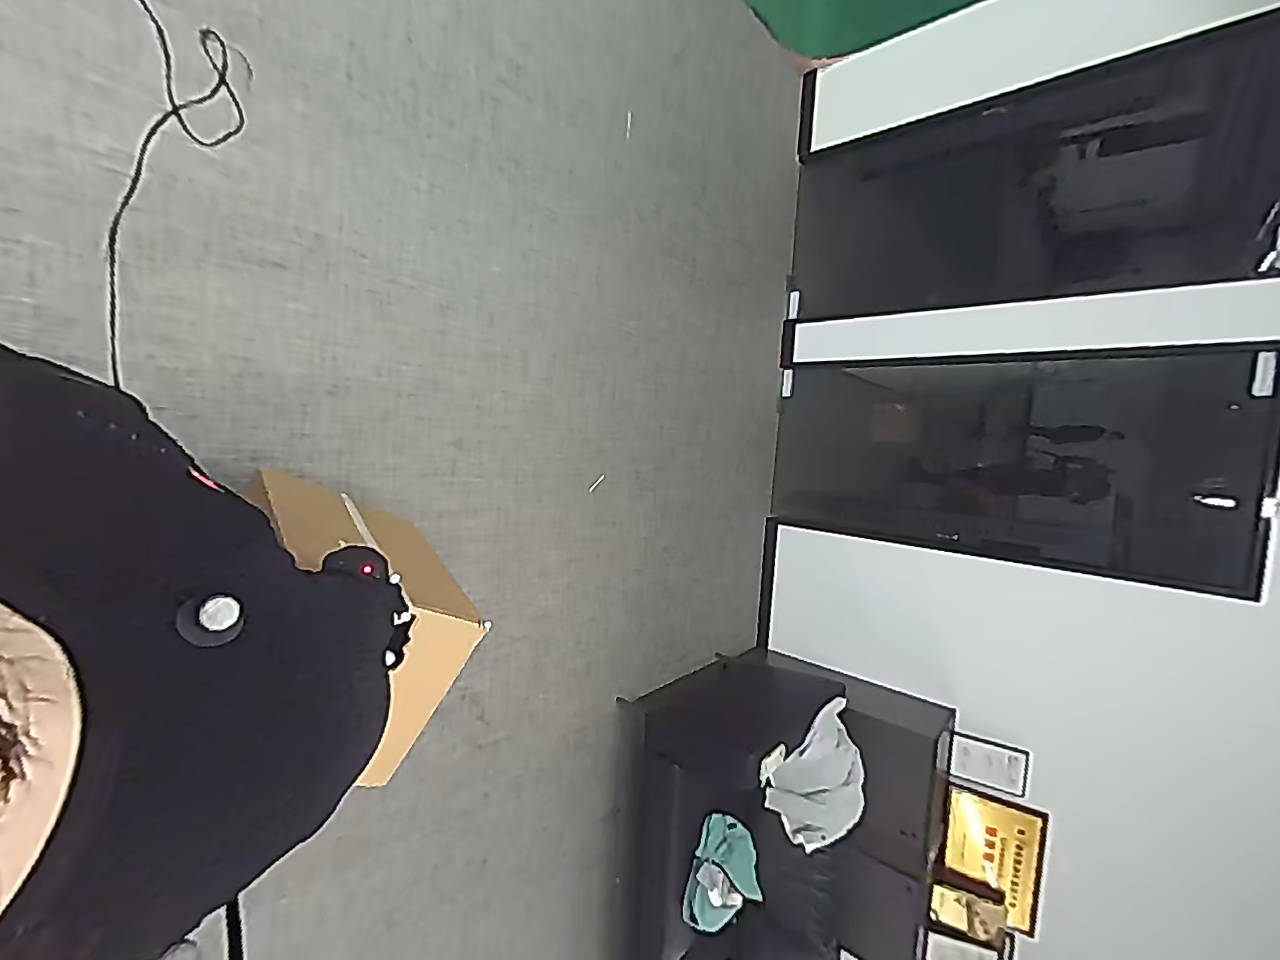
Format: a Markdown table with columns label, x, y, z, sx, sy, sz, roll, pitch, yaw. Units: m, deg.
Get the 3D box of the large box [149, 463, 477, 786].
| label | x | y | z | sx | sy | sz | roll | pitch | yaw |
| --- | --- | --- | --- | --- | --- | --- | --- | --- | --- |
| large box | -0.555 | 0.229 | 0.907 | 0.320 | 0.408 | 0.320 | 33 | 90 | -46 |
